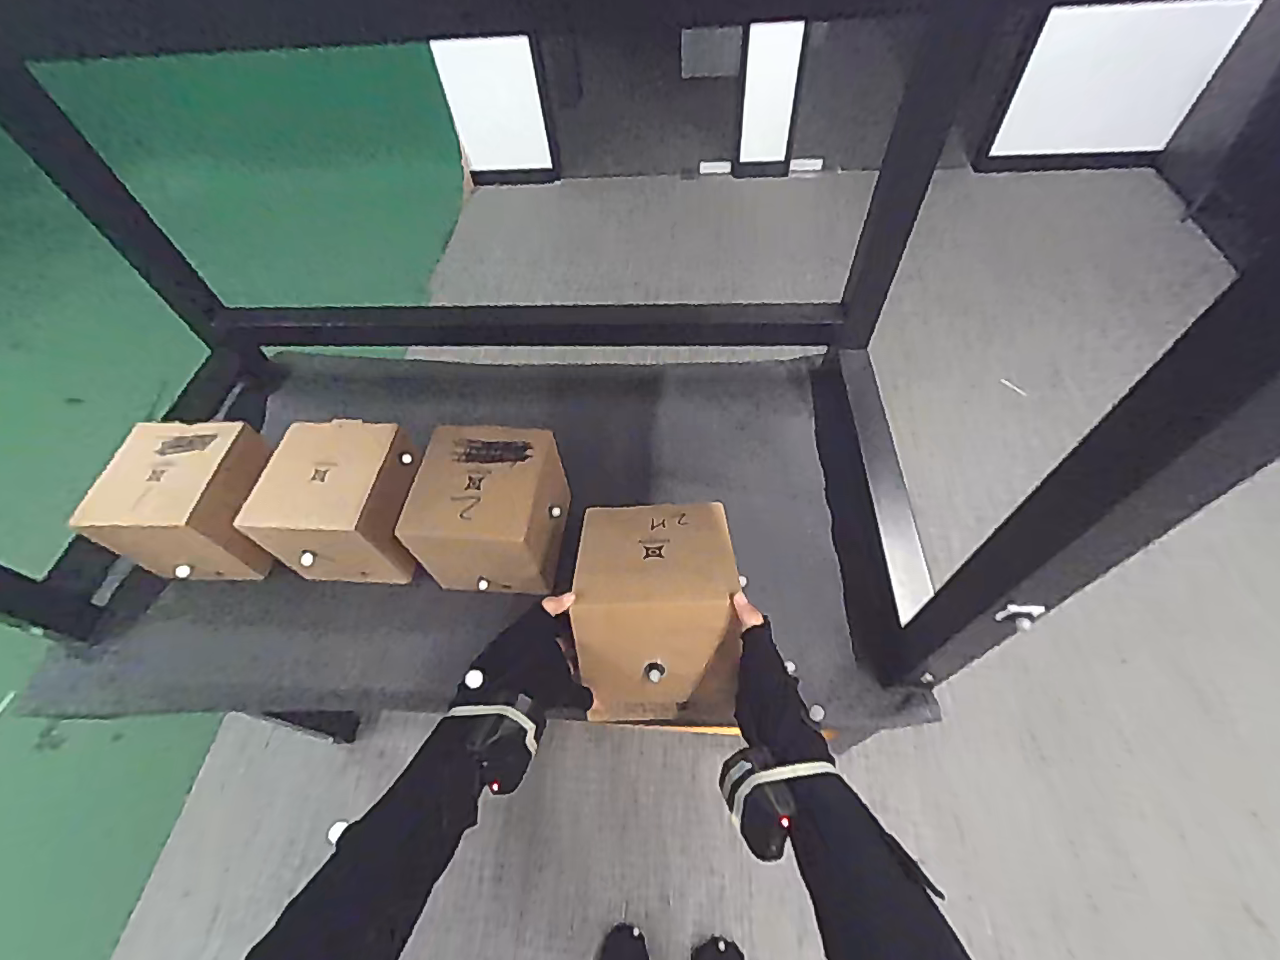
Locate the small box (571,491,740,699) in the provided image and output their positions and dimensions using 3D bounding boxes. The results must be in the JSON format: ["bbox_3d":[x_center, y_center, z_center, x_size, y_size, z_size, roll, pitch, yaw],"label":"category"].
[{"bbox_3d":[0.023,0.131,0.619,0.168,0.176,0.179,-3,30,3],"label":"small box"}]

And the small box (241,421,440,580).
[{"bbox_3d":[-0.416,0.034,0.790,0.168,0.176,0.179,1,55,5],"label":"small box"}]

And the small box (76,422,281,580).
[{"bbox_3d":[-0.642,0.033,0.806,0.168,0.176,0.179,-1,55,4],"label":"small box"}]
